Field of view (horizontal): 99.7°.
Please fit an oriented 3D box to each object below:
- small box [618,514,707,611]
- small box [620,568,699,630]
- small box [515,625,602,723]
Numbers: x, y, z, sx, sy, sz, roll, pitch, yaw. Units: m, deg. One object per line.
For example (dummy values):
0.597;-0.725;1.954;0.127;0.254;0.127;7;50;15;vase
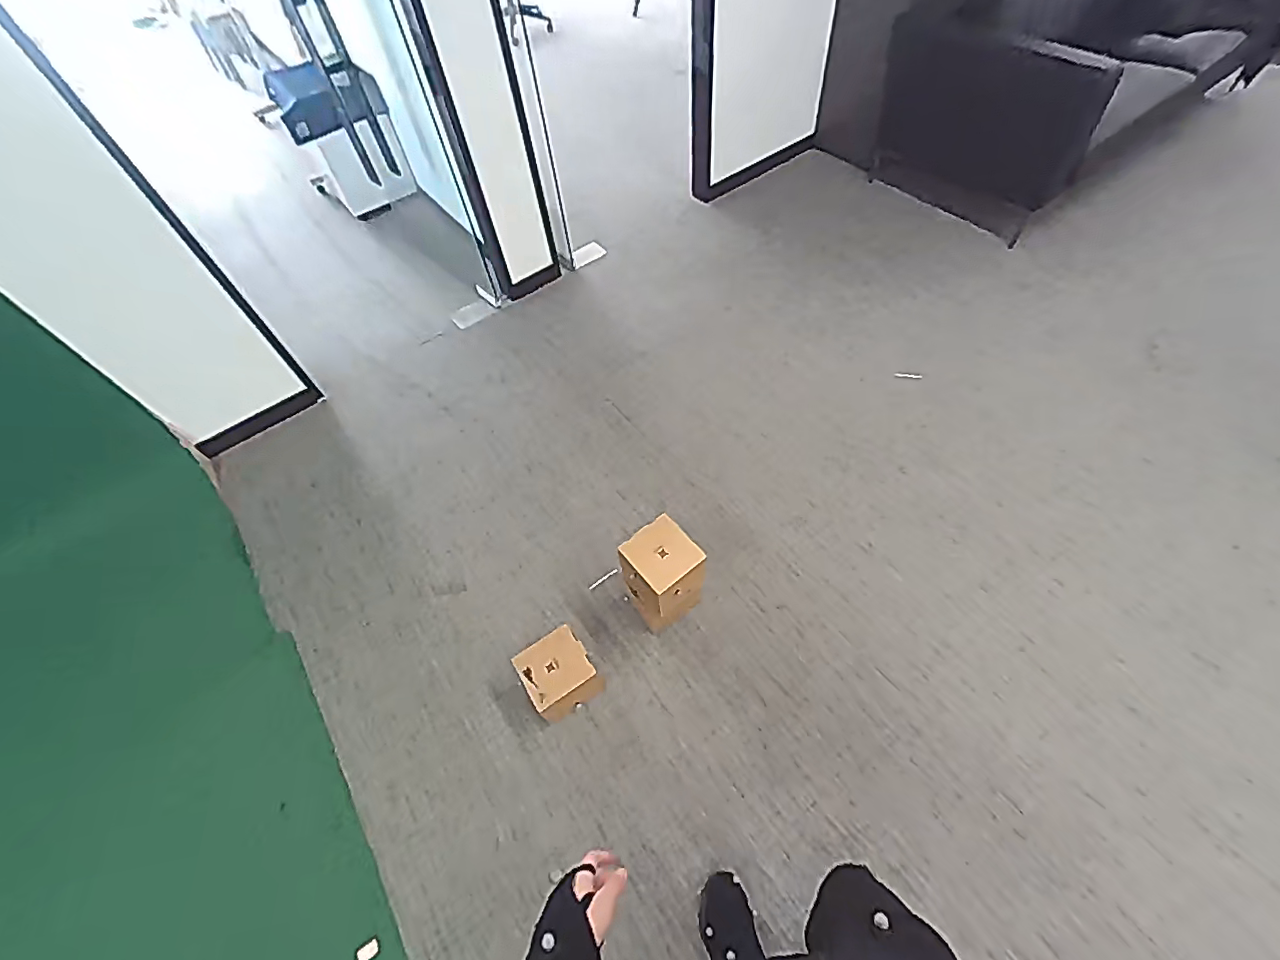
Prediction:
0.064;0.231;1.459;0.168;0.176;0.179;-36;60;-17;small box
0.065;0.314;1.598;0.179;0.176;0.168;-32;59;-16;small box
-0.215;0.533;1.481;0.179;0.176;0.168;-30;58;-15;small box
